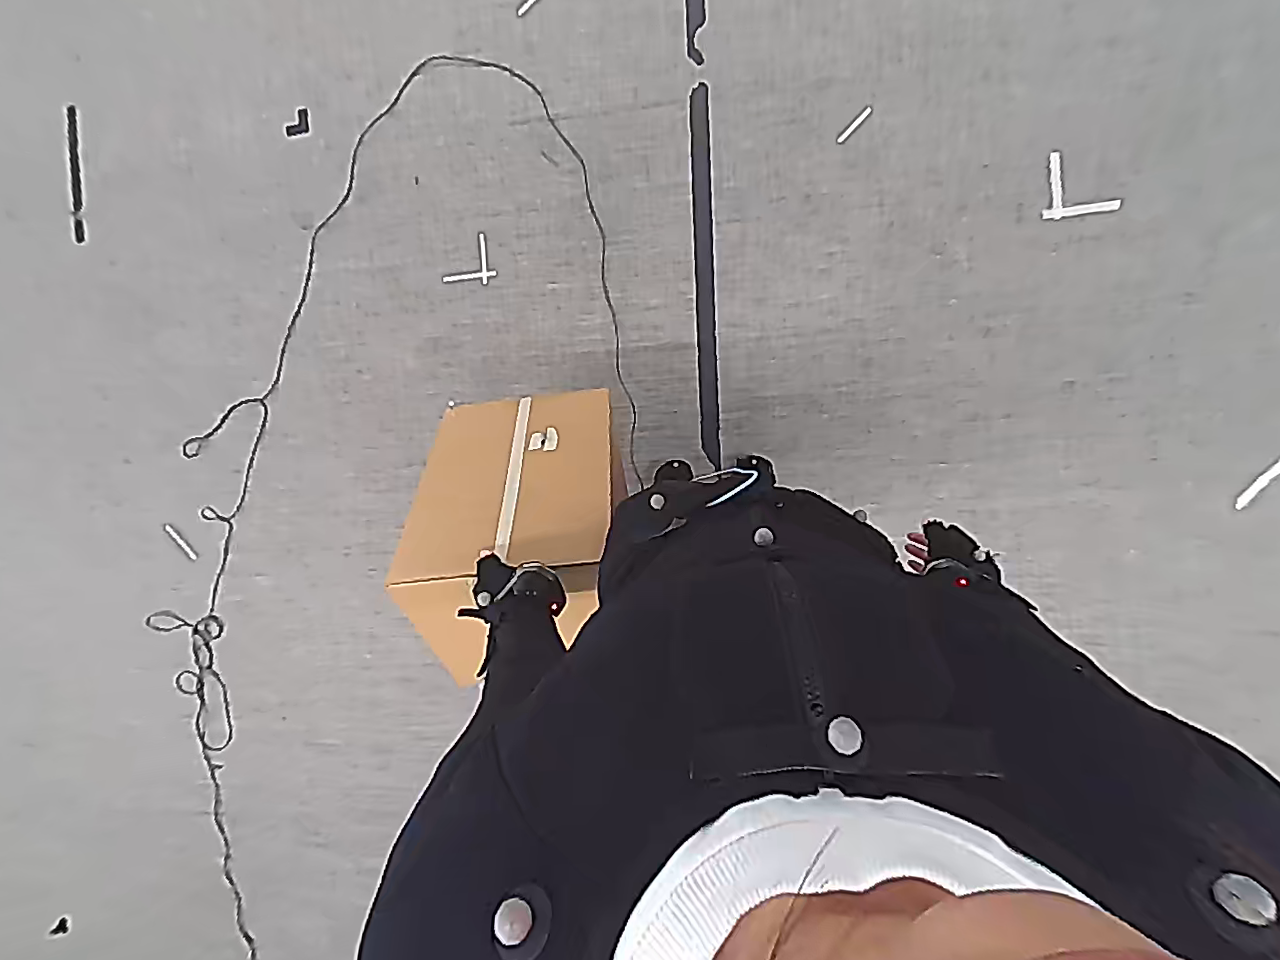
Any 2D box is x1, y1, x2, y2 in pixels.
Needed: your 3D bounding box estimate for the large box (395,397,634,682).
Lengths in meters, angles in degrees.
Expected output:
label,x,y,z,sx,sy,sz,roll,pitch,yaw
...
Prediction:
label,x,y,z,sx,sy,sz,roll,pitch,yaw
large box,-0.188,0.103,0.993,0.320,0.408,0.320,-6,133,2
